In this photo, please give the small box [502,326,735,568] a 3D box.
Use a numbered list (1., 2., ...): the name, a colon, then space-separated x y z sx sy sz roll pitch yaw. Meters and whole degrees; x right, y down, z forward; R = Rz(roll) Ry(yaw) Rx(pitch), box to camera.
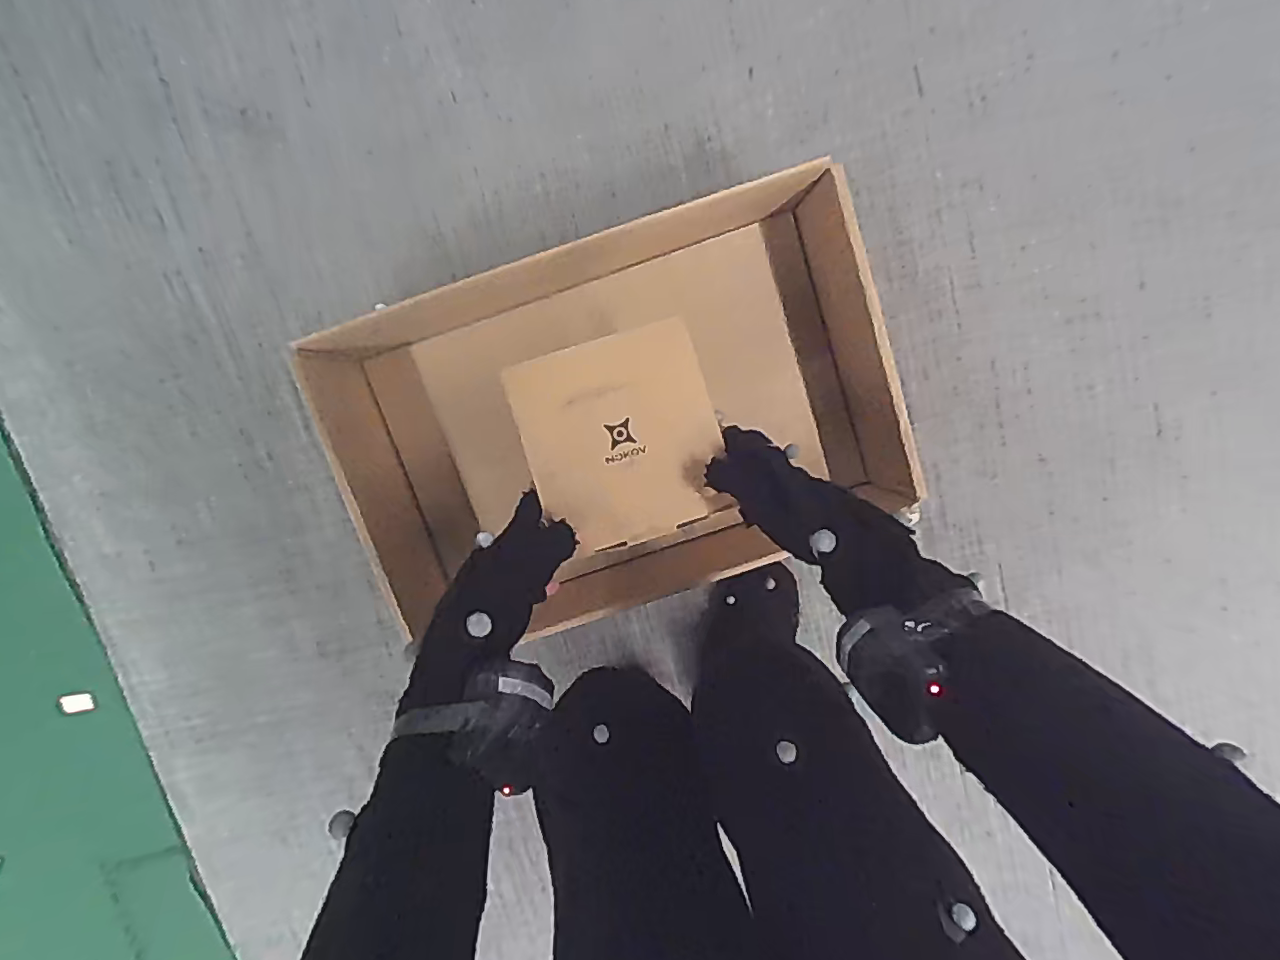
1. small box: -0.018 -0.029 0.546 0.168 0.176 0.179 -17 89 -2
